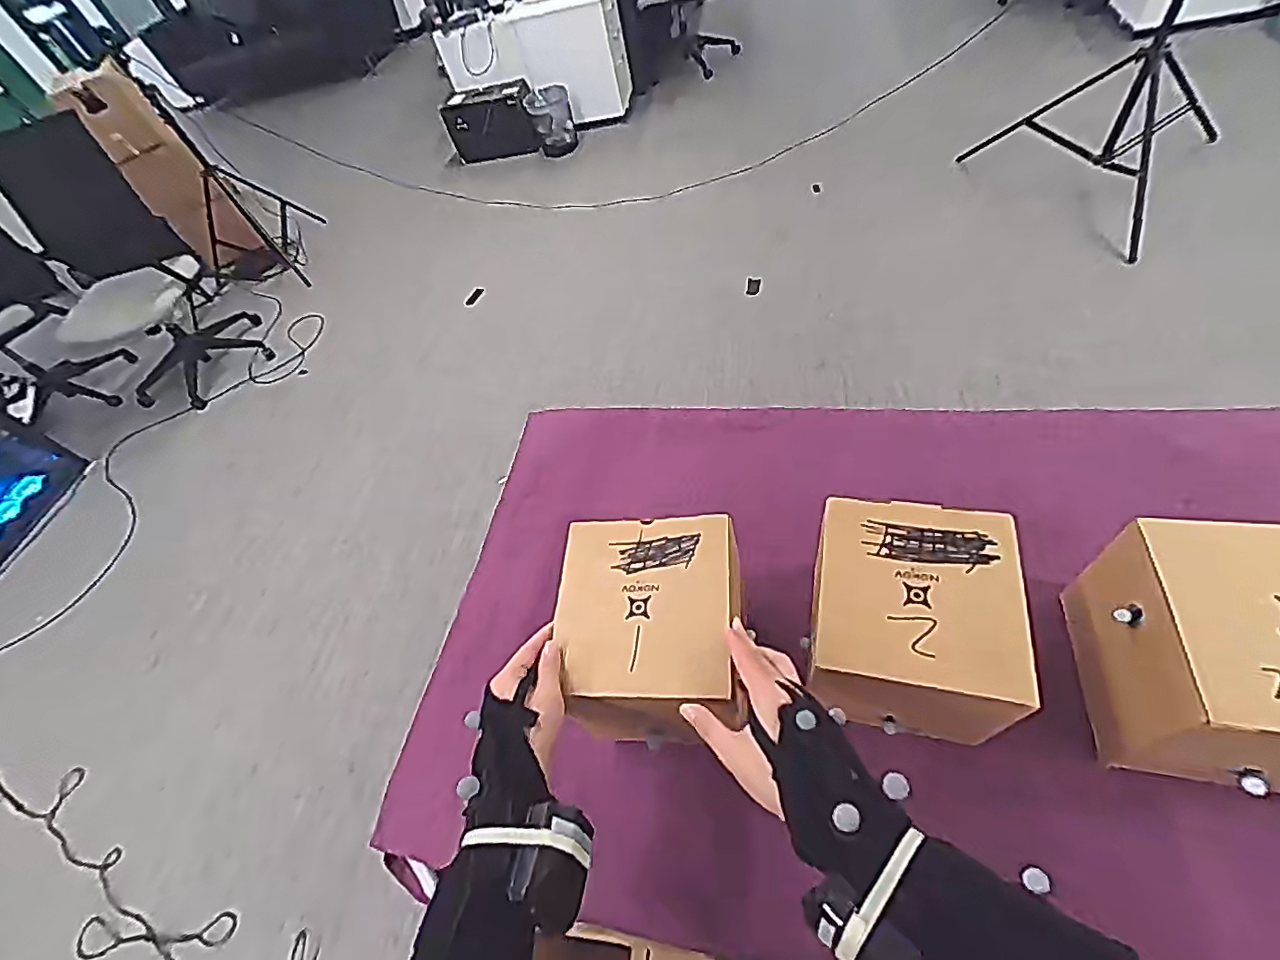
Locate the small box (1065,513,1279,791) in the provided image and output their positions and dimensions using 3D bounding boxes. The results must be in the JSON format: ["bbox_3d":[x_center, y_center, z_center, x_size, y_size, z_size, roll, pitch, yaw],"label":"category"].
[{"bbox_3d":[0.512,0.150,0.471,0.168,0.176,0.179,3,55,17],"label":"small box"}]

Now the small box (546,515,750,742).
[{"bbox_3d":[0.023,0.155,0.560,0.168,0.176,0.179,-4,53,14],"label":"small box"}]
